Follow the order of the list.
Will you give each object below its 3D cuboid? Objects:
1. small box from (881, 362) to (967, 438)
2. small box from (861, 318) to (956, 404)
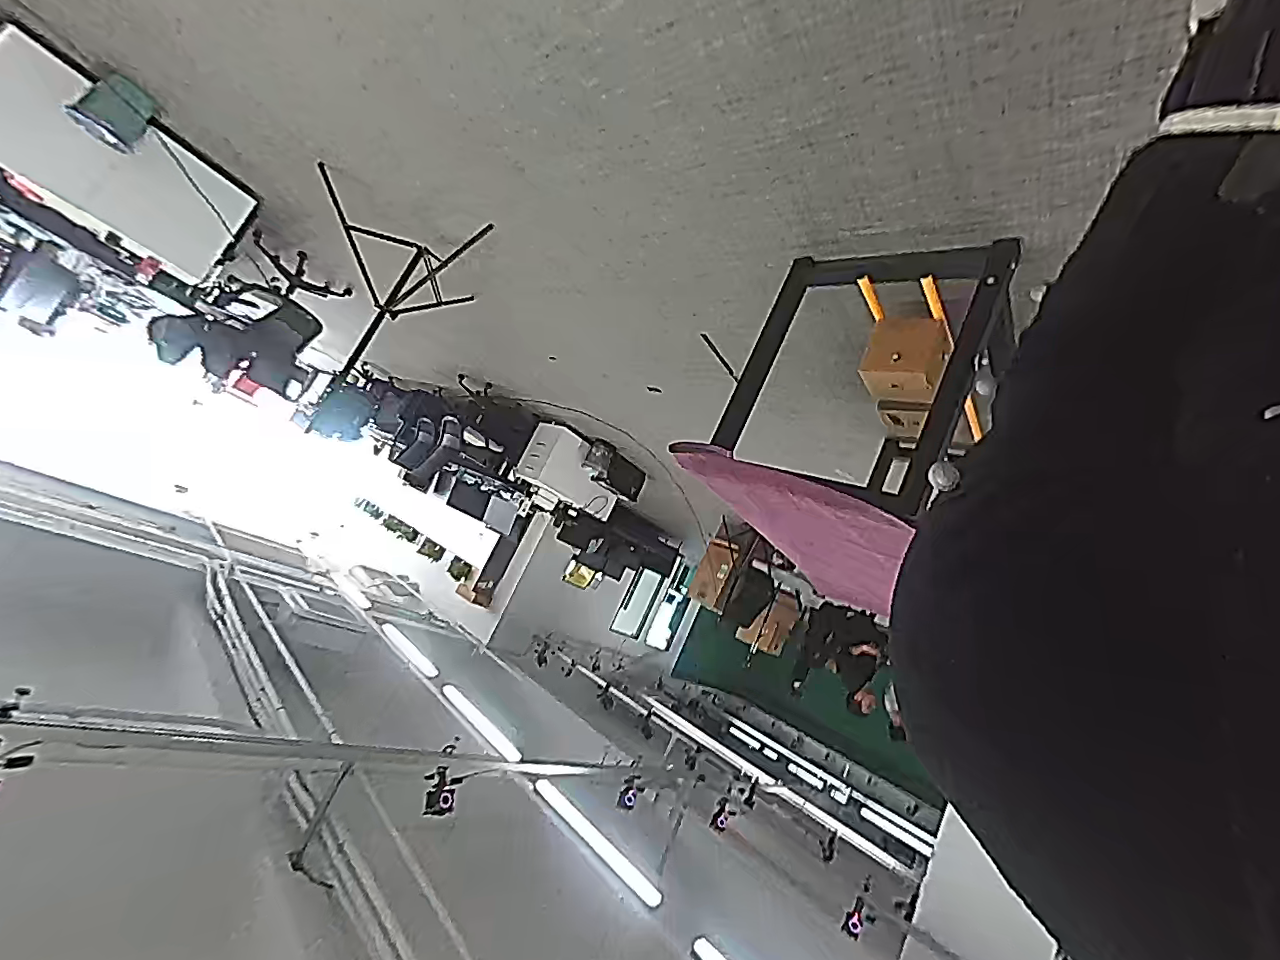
[{"bbox_3d":[0.866,-0.247,1.646,0.179,0.176,0.168,12,164,43],"label":"small box"},{"bbox_3d":[0.747,-0.330,1.498,0.179,0.176,0.168,13,165,44],"label":"small box"}]
